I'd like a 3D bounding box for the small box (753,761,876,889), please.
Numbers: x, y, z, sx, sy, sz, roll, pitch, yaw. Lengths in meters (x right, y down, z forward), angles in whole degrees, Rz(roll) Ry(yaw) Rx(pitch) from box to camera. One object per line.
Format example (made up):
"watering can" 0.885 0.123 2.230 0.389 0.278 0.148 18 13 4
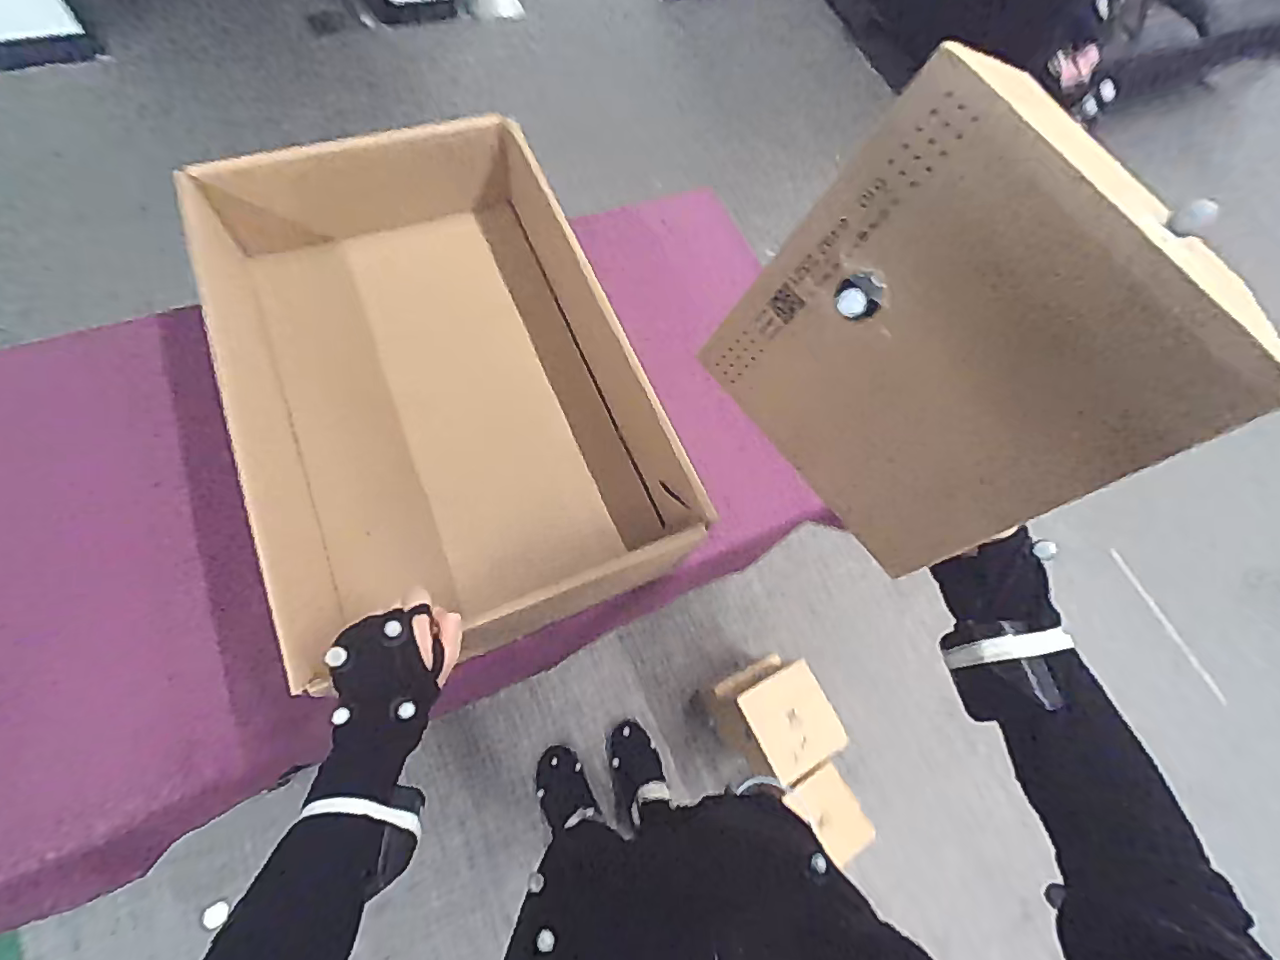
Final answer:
"small box" 0.373 0.753 1.202 0.179 0.176 0.168 -27 73 -18

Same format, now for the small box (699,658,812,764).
"small box" 0.263 0.537 1.273 0.179 0.176 0.168 -23 73 -16
